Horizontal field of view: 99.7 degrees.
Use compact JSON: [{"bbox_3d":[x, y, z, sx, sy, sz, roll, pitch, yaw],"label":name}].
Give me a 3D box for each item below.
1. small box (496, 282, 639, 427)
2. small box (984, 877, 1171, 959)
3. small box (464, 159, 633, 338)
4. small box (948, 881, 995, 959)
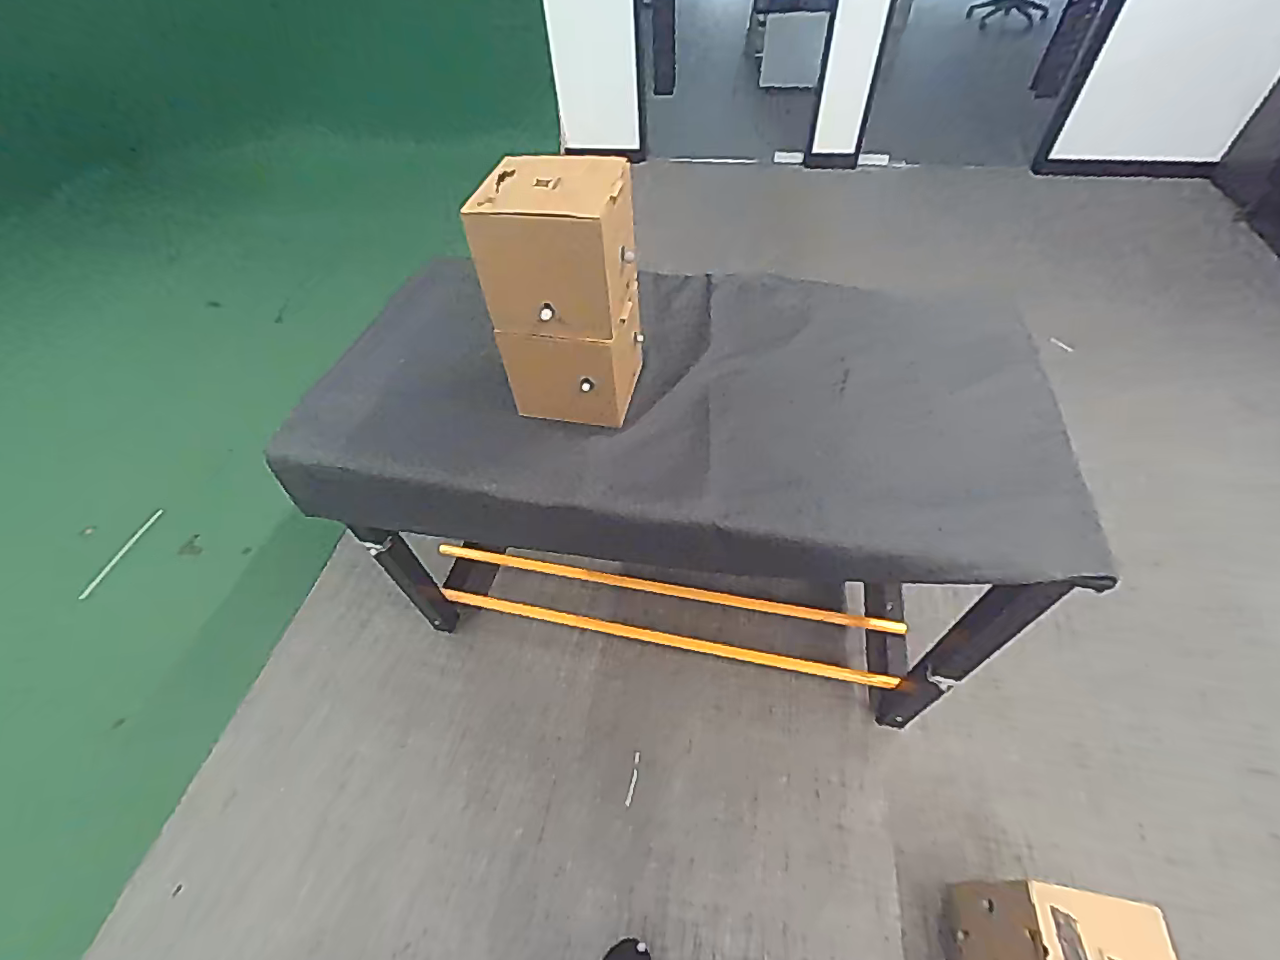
[{"bbox_3d":[-0.102,-0.204,0.864,0.179,0.176,0.168,7,50,10],"label":"small box"},{"bbox_3d":[0.643,0.713,0.803,0.179,0.176,0.168,7,52,8],"label":"small box"},{"bbox_3d":[-0.109,-0.314,0.743,0.179,0.176,0.168,7,51,8],"label":"small box"},{"bbox_3d":[0.663,0.816,0.931,0.179,0.176,0.168,8,51,10],"label":"small box"}]
